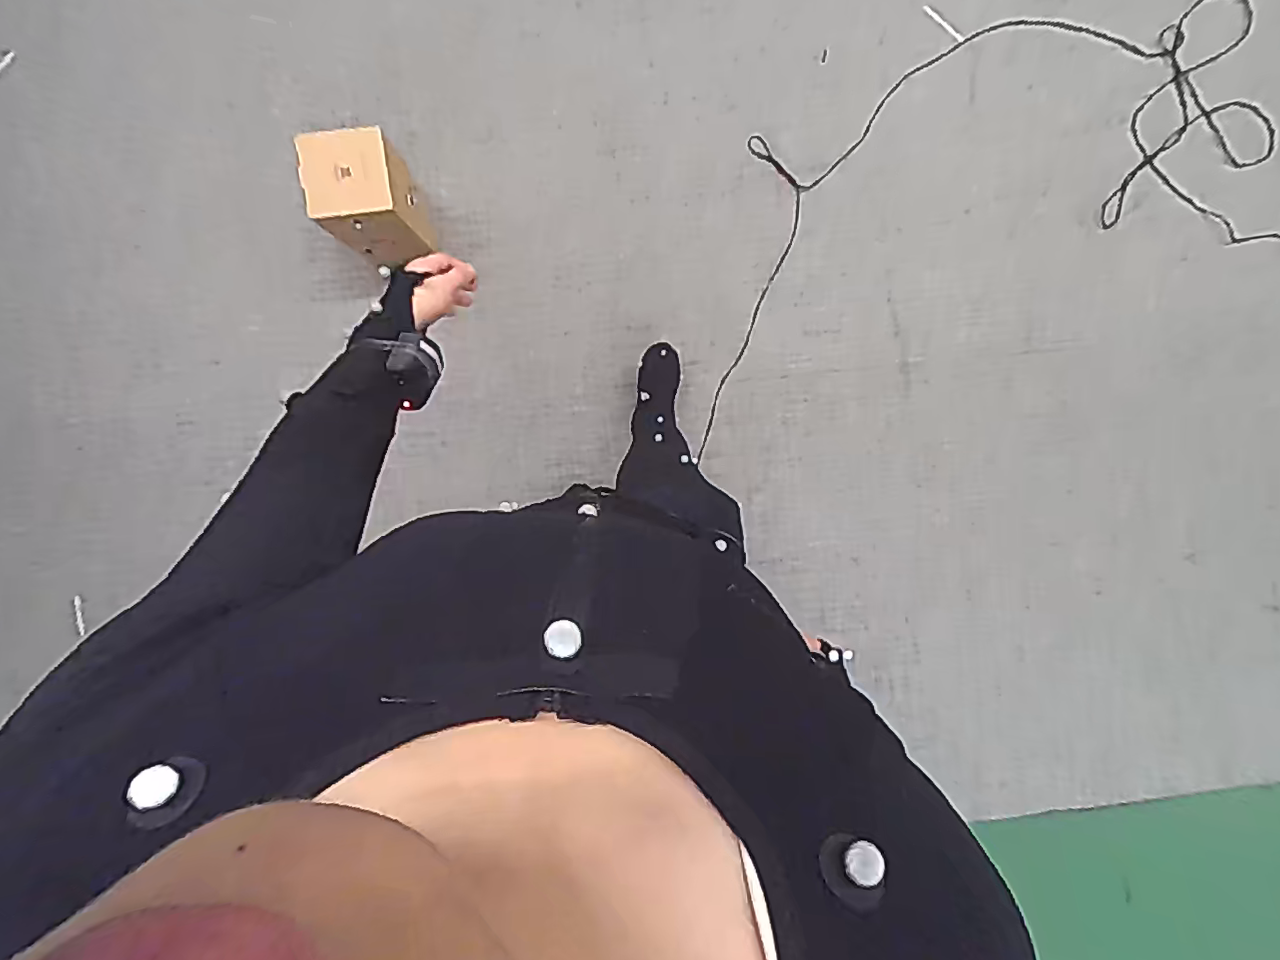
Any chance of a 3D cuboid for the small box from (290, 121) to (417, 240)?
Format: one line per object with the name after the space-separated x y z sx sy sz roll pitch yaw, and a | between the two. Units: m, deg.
-0.607 -0.635 1.166 0.179 0.176 0.168 -8 95 -3 | small box
